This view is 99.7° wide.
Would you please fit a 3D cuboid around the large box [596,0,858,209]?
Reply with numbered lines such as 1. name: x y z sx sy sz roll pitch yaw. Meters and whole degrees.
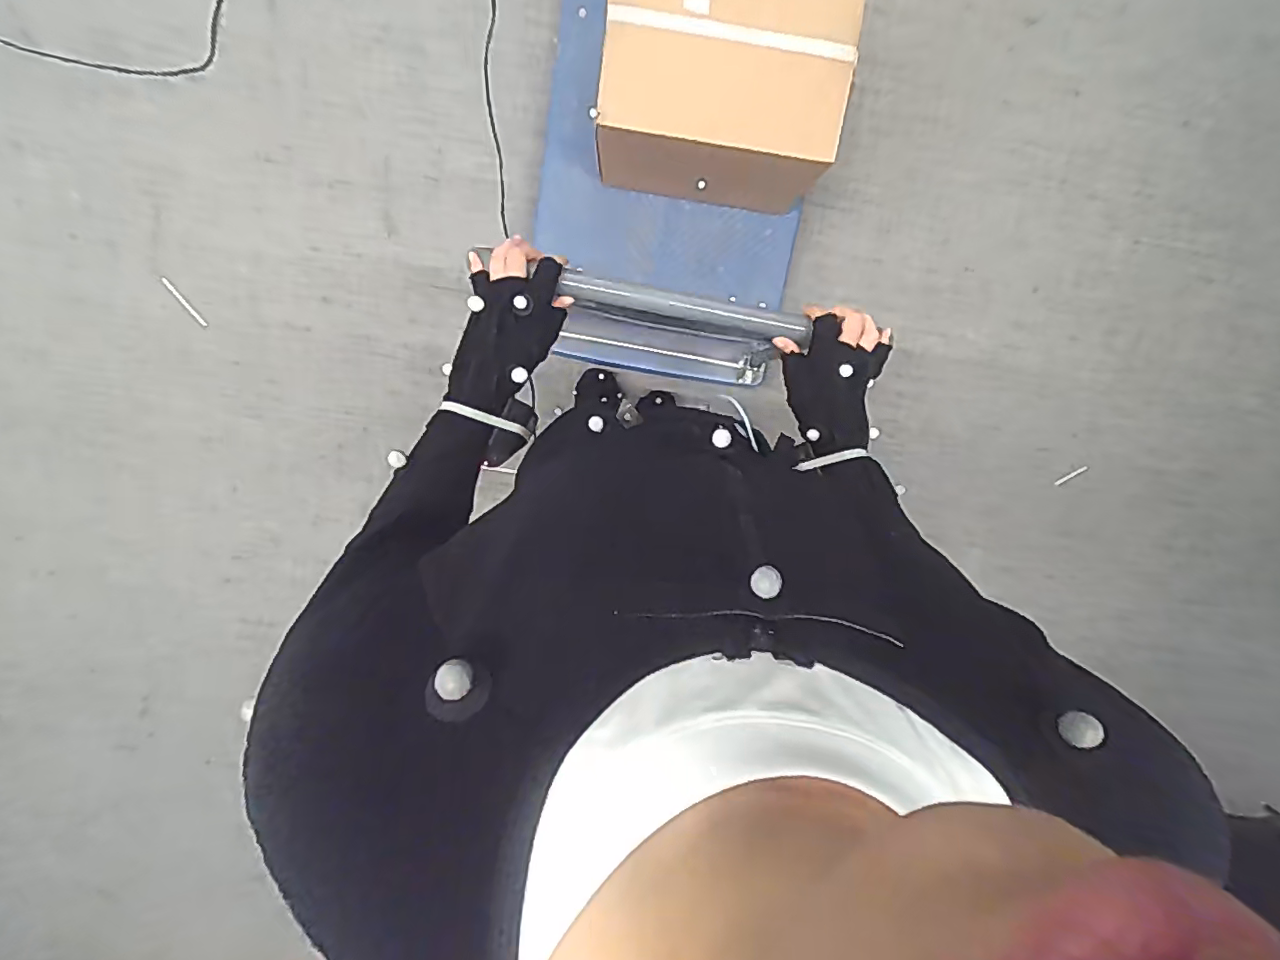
1. large box: 0.139 -0.735 1.015 0.408 0.320 0.320 7 100 -3
